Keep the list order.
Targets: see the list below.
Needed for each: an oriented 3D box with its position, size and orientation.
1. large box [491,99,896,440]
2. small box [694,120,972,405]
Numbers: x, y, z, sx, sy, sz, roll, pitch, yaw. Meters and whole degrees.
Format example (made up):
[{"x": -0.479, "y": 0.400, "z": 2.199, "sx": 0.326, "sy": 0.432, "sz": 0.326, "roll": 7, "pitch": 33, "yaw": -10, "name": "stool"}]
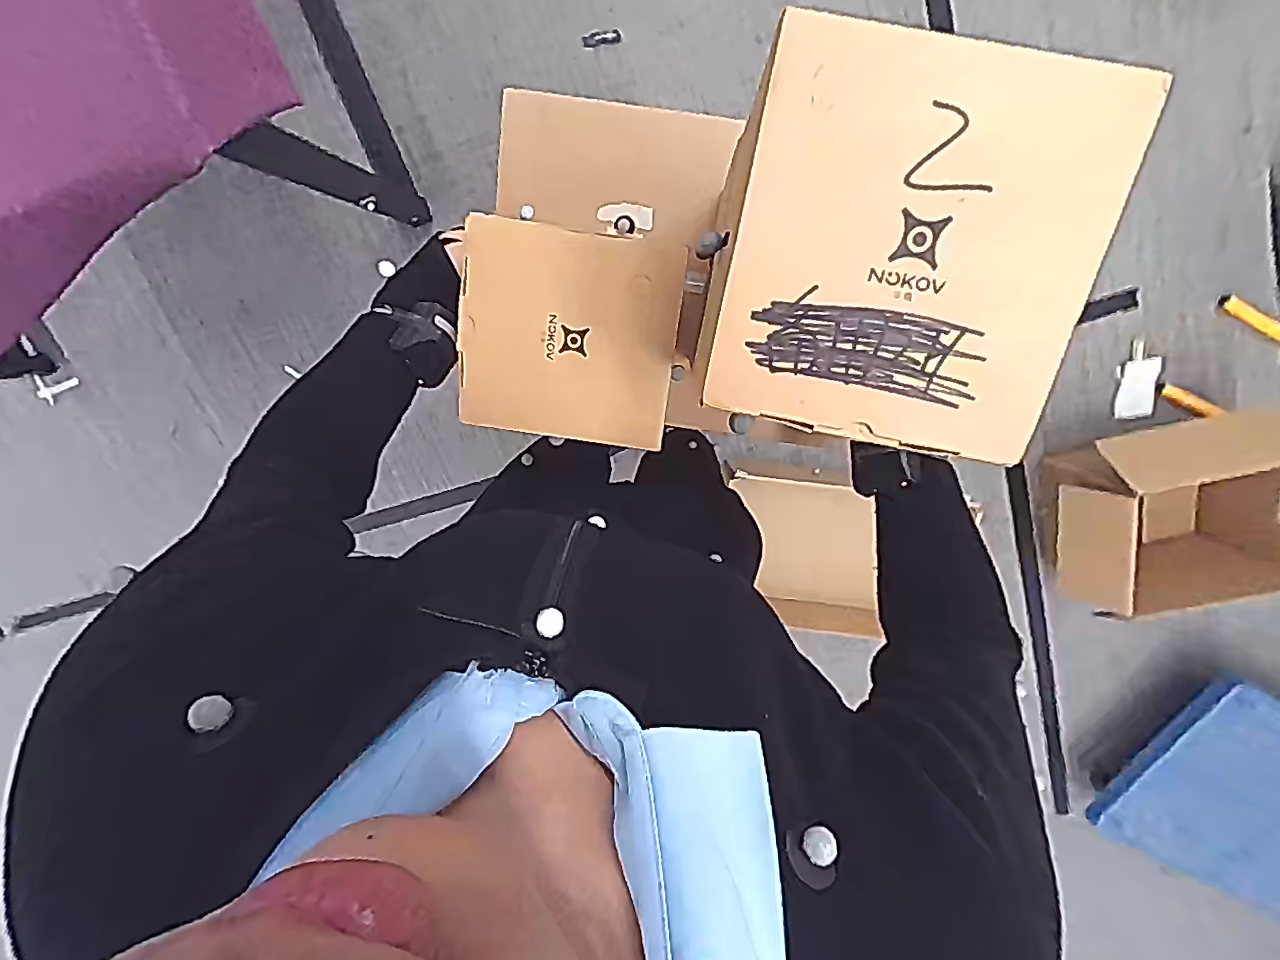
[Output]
[{"x": 0.051, "y": -0.255, "z": 0.716, "sx": 0.408, "sy": 0.320, "sz": 0.320, "roll": 7, "pitch": 106, "yaw": 2, "name": "large box"}, {"x": 0.143, "y": -0.176, "z": 0.476, "sx": 0.168, "sy": 0.176, "sz": 0.179, "roll": 11, "pitch": 107, "yaw": 2, "name": "small box"}]
